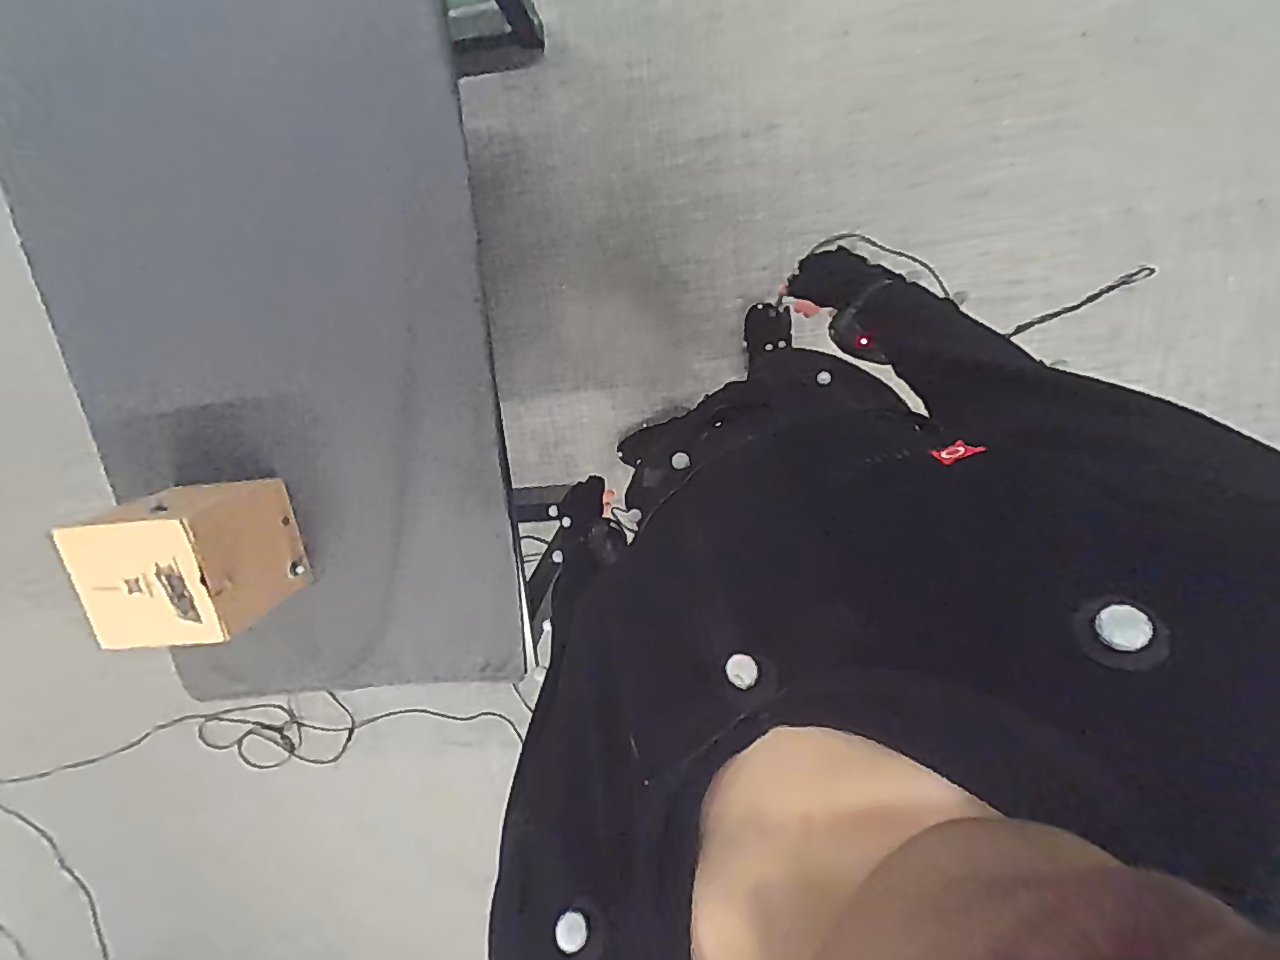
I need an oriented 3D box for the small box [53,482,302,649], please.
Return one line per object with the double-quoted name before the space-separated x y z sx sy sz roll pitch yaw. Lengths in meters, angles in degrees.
"small box" -0.595 0.106 0.728 0.179 0.176 0.168 -5 106 6
